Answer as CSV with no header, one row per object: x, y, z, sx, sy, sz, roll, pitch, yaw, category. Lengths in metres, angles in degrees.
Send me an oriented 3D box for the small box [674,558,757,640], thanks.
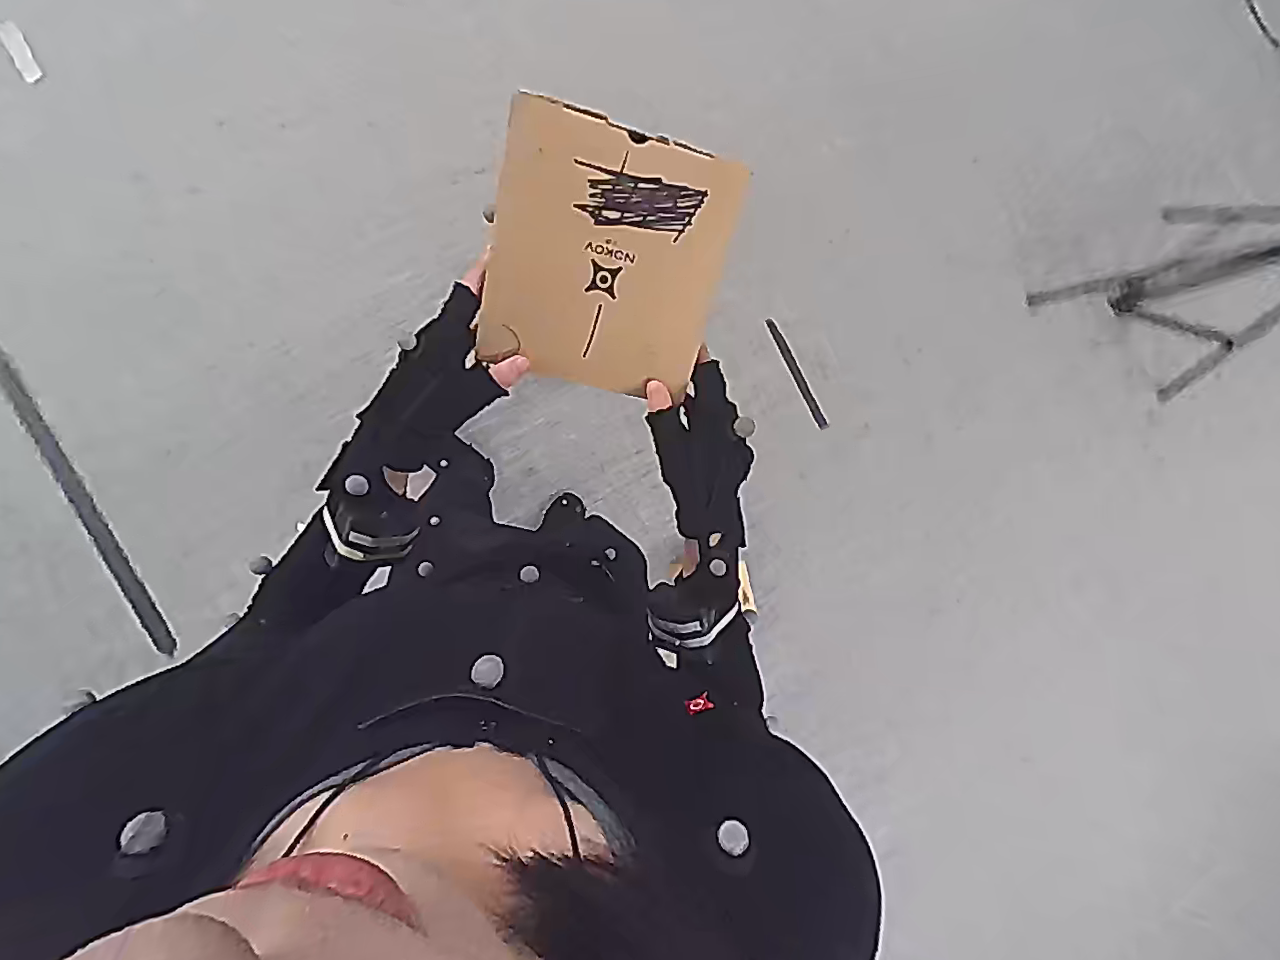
0.198,0.320,1.487,0.179,0.176,0.168,-13,92,-8,small box

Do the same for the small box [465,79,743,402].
-0.039,-0.184,0.448,0.168,0.176,0.179,10,112,-12,small box
